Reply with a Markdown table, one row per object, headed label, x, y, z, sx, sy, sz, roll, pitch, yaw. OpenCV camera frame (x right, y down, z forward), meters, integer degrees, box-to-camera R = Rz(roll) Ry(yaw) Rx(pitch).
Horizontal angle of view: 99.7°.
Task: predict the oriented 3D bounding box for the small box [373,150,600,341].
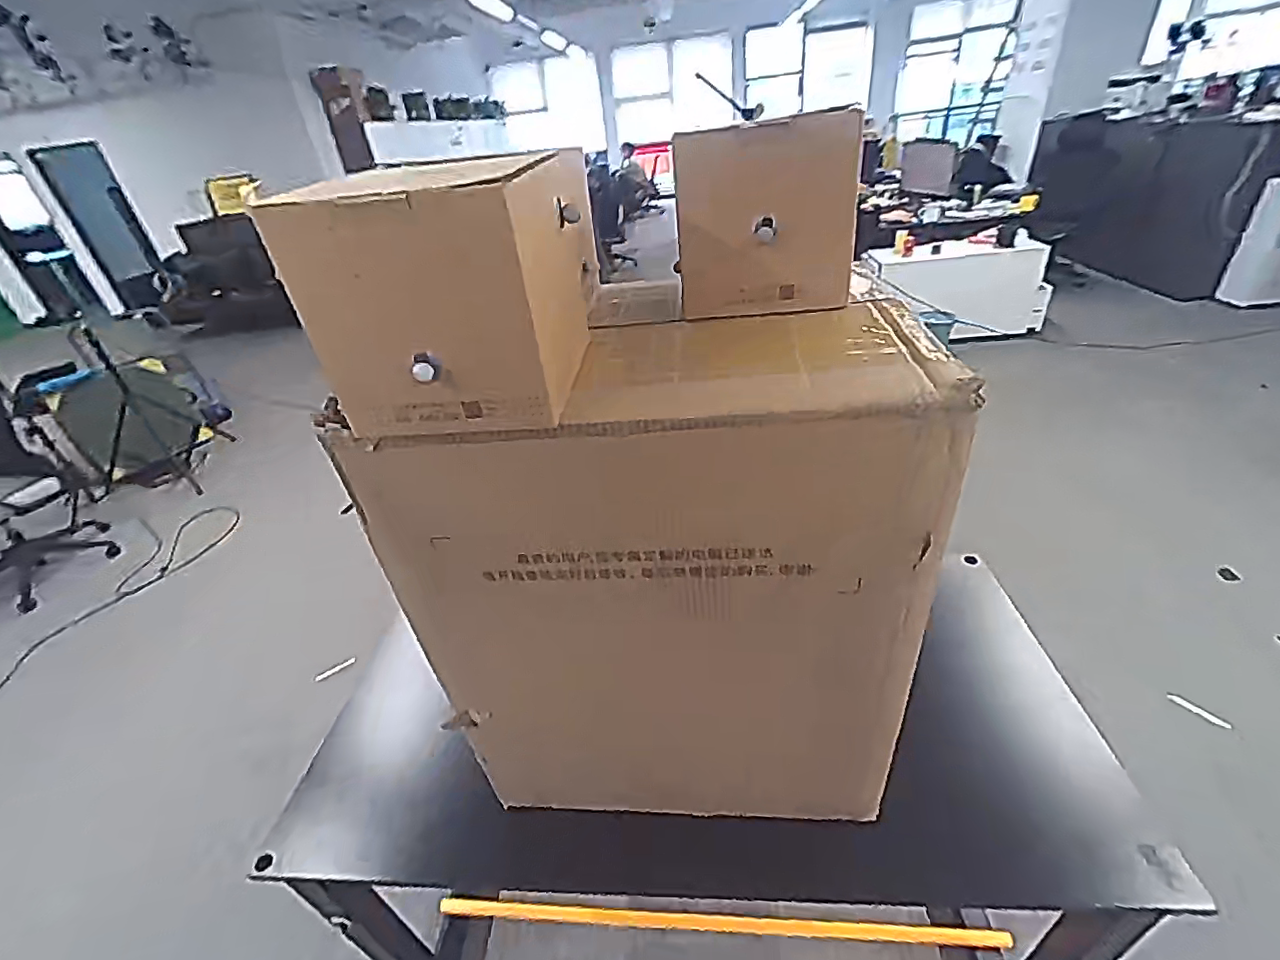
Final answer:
| label | x | y | z | sx | sy | sz | roll | pitch | yaw |
| --- | --- | --- | --- | --- | --- | --- | --- | --- | --- |
| small box | -0.151 | -0.261 | 0.603 | 0.179 | 0.176 | 0.168 | -2 | 33 | 7 |
